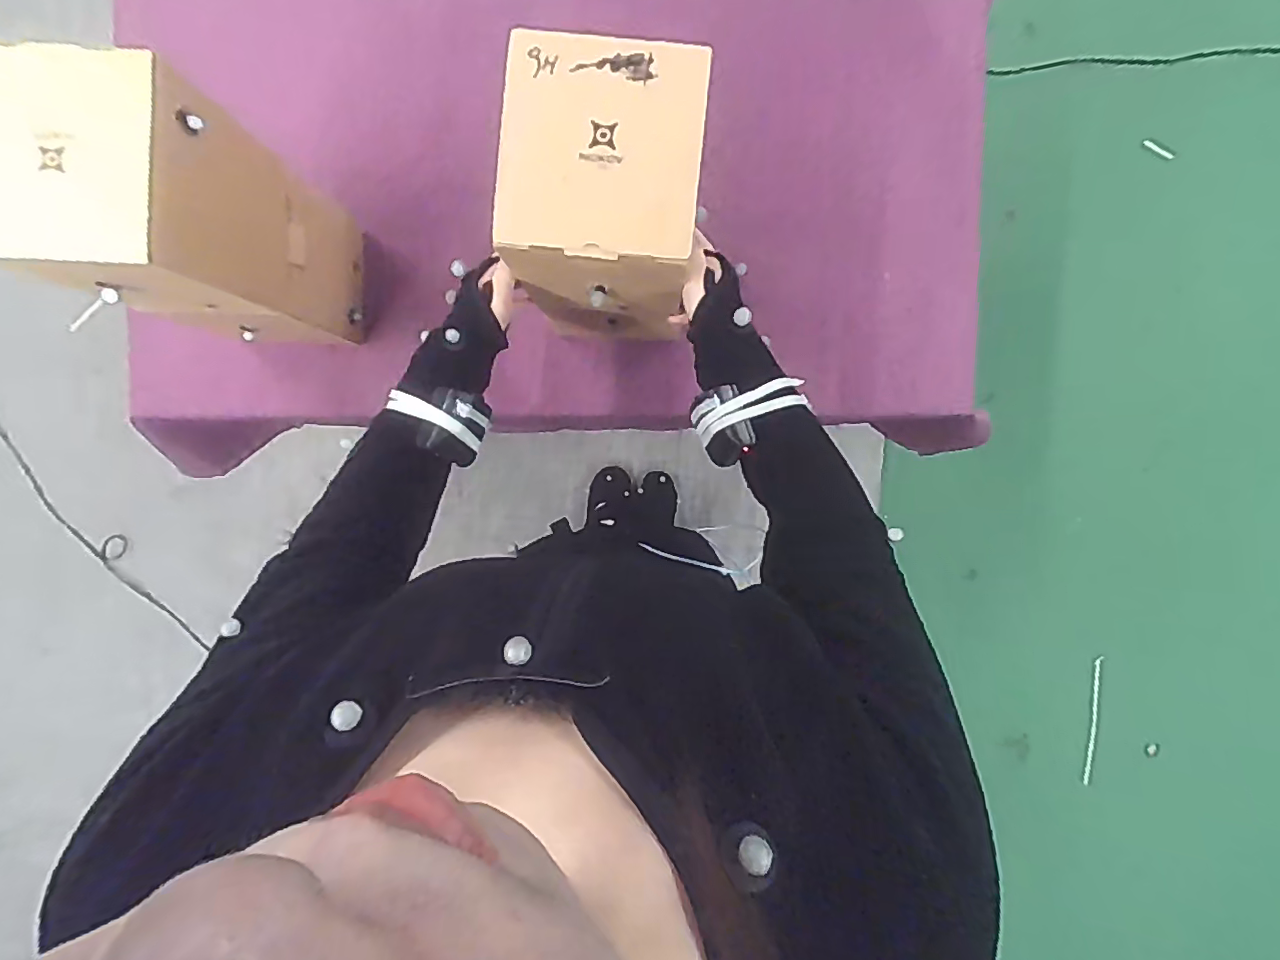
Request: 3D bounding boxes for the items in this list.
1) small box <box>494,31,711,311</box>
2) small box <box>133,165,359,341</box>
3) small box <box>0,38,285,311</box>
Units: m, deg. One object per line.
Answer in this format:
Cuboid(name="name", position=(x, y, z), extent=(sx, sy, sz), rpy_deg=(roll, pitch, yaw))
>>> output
Cuboid(name="small box", position=(-0.031, -0.273, 0.521), extent=(0.168, 0.176, 0.179), rpy_deg=(6, 93, 0))
Cuboid(name="small box", position=(-0.480, -0.277, 0.684), extent=(0.179, 0.176, 0.168), rpy_deg=(2, 92, 0))
Cuboid(name="small box", position=(-0.477, -0.272, 0.521), extent=(0.168, 0.176, 0.179), rpy_deg=(3, 91, 0))
